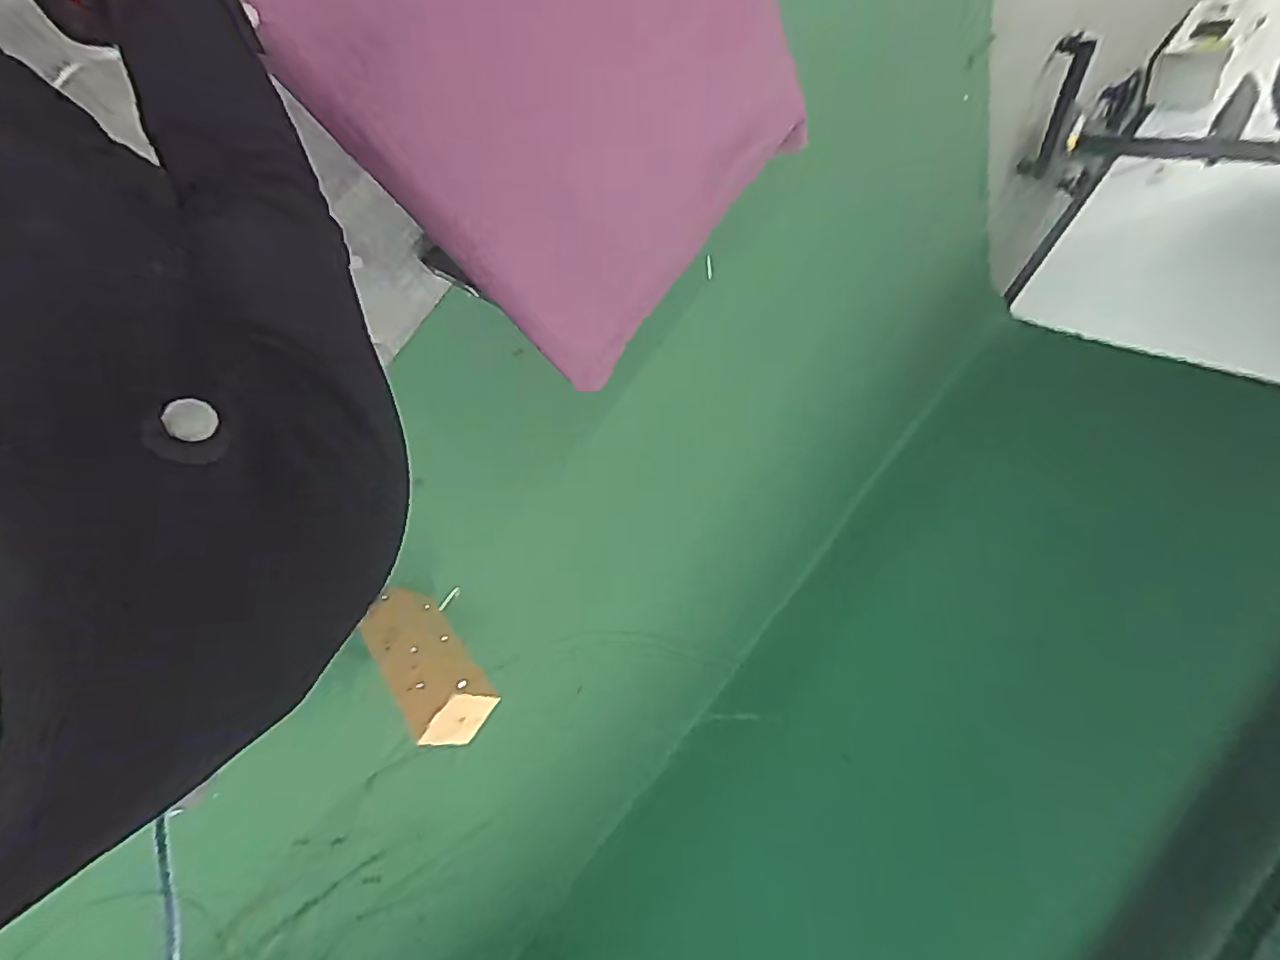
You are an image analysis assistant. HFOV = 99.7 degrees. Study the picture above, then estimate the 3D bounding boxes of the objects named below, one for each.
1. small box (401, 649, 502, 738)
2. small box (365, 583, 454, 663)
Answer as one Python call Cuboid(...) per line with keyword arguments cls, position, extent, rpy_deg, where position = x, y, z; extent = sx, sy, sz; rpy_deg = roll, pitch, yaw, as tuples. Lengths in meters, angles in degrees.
Cuboid(cls="small box", position=(-0.535, 0.602, 1.529), extent=(0.168, 0.176, 0.179), rpy_deg=(-54, 140, 1))
Cuboid(cls="small box", position=(-0.744, 0.454, 1.734), extent=(0.168, 0.176, 0.179), rpy_deg=(-52, 140, -2))
